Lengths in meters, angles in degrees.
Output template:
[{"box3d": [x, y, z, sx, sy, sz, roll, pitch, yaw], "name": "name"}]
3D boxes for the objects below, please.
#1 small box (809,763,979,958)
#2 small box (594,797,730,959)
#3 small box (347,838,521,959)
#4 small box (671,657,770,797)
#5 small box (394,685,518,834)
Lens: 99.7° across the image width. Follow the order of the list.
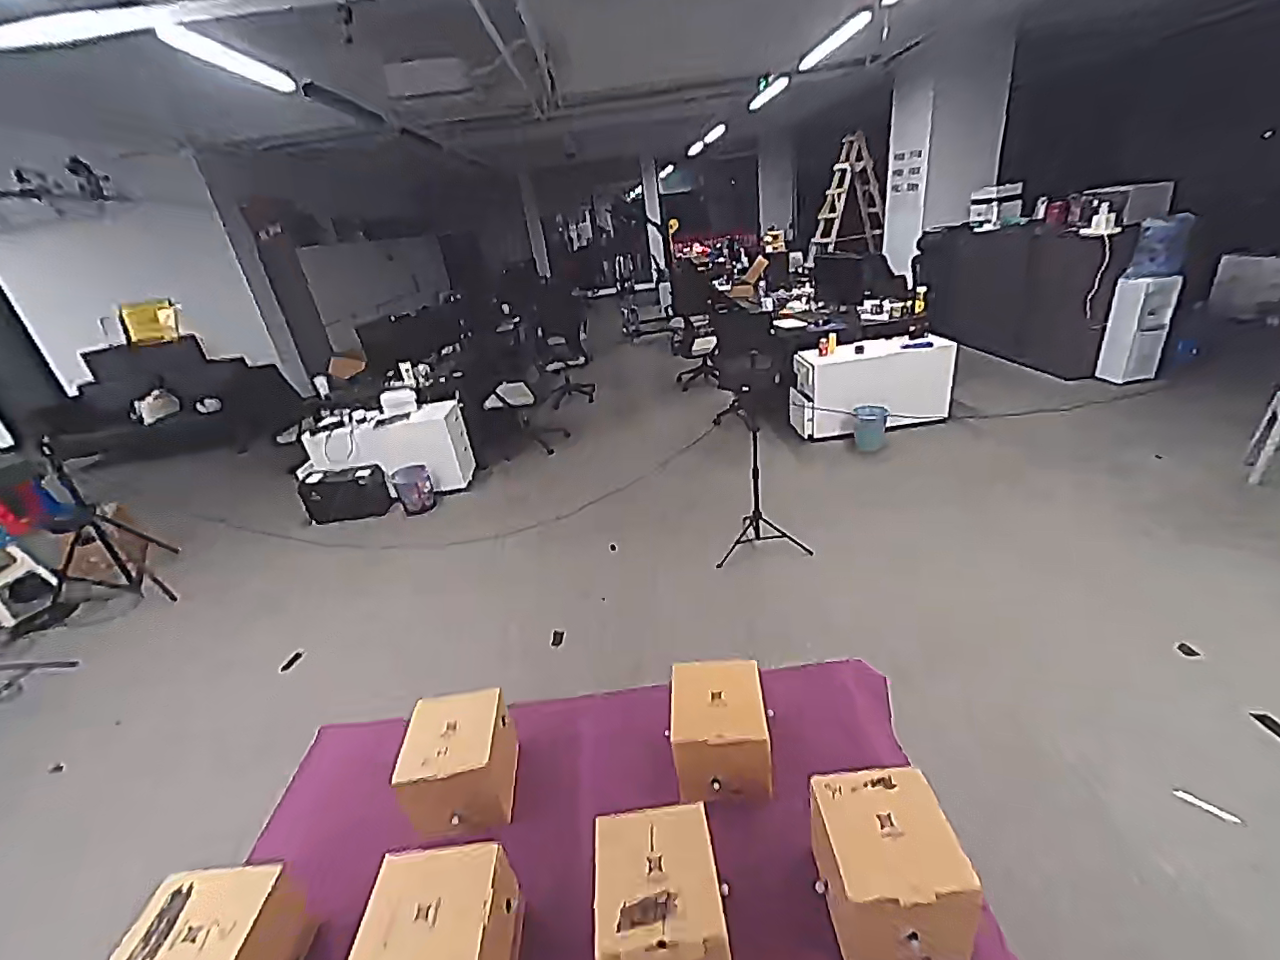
[{"box3d": [0.349, 0.543, 0.773, 0.168, 0.176, 0.179, -7, 24, 4], "name": "small box"}, {"box3d": [0.030, 0.595, 0.765, 0.168, 0.176, 0.179, -8, 25, 0], "name": "small box"}, {"box3d": [-0.276, 0.642, 0.759, 0.179, 0.176, 0.168, -7, 25, 1], "name": "small box"}, {"box3d": [0.149, 0.460, 1.014, 0.168, 0.176, 0.179, -5, 27, 7], "name": "small box"}, {"box3d": [-0.335, 0.524, 1.022, 0.168, 0.176, 0.179, -9, 26, -2], "name": "small box"}]
